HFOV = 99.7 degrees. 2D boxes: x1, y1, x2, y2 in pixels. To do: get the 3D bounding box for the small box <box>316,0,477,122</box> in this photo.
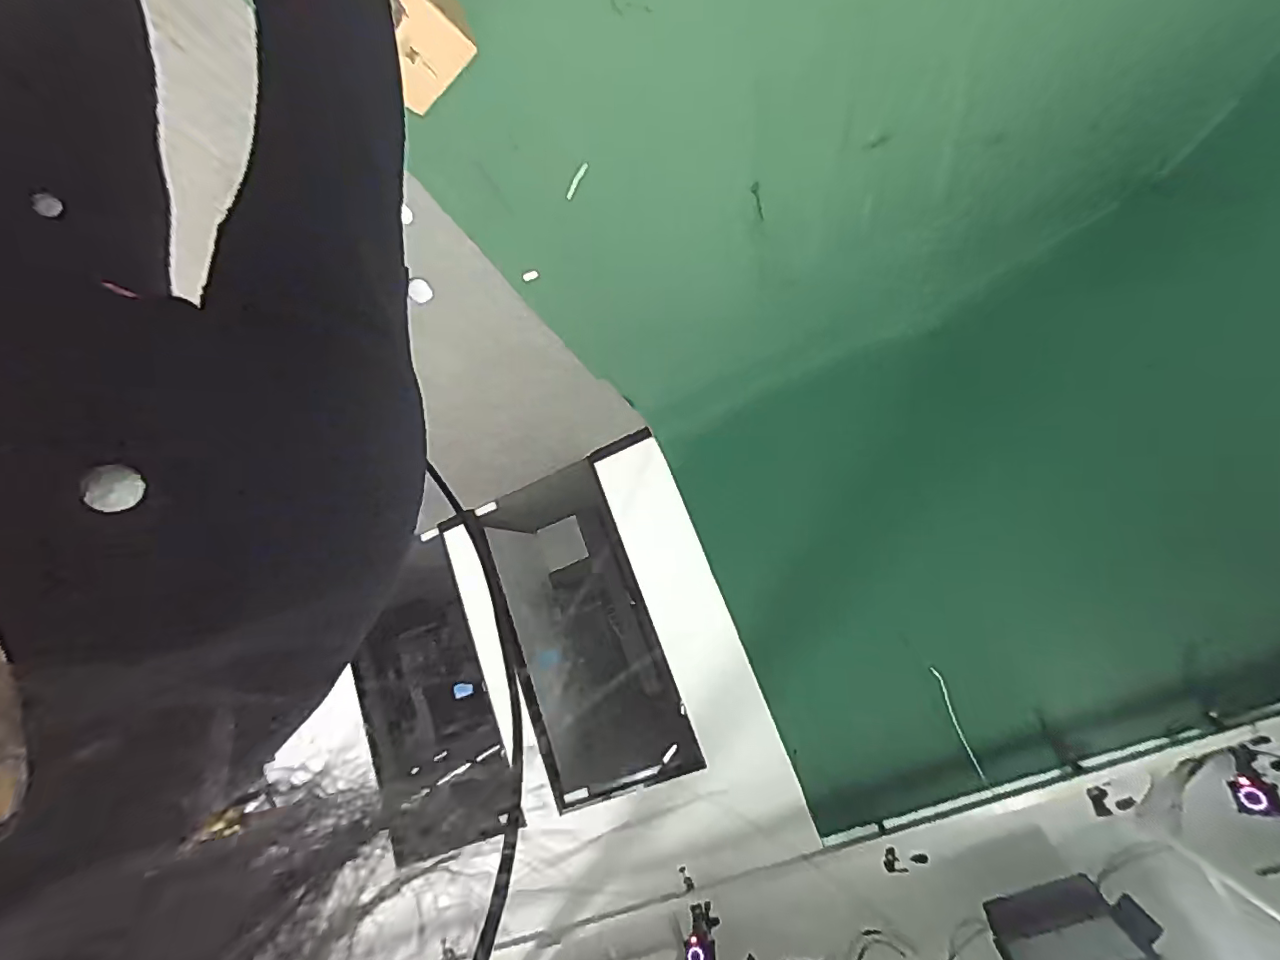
[{"bbox_3d":[-0.418,-0.777,0.918,0.168,0.176,0.179,-28,166,25],"label":"small box"}]
